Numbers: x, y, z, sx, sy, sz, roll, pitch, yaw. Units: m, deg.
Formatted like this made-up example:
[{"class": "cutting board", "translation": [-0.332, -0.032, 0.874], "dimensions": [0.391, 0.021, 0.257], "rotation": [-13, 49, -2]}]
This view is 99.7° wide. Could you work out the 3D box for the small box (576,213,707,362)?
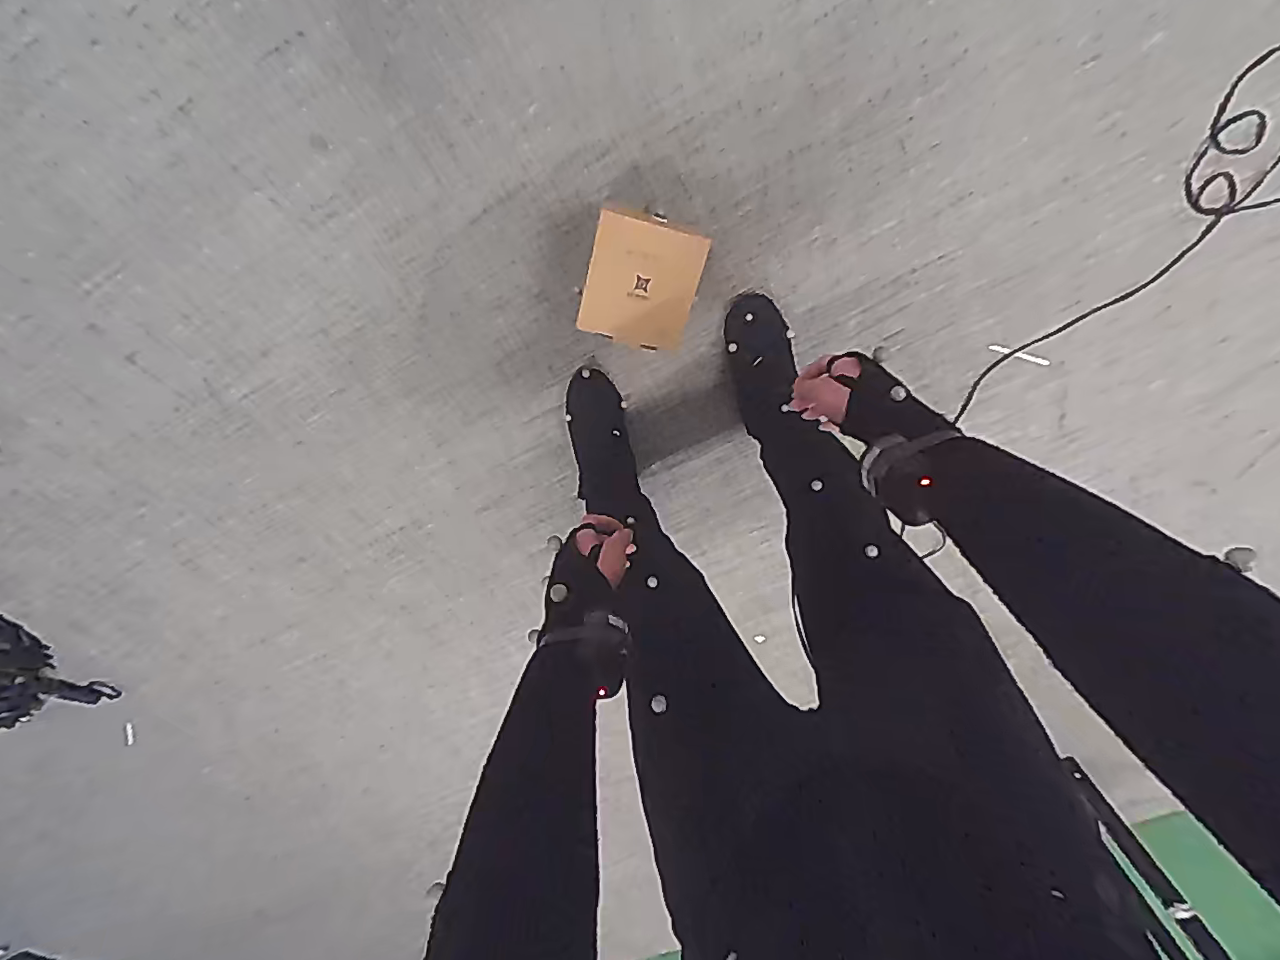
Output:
[{"class": "small box", "translation": [-0.004, -0.317, 0.881], "dimensions": [0.168, 0.176, 0.179], "rotation": [11, 118, -11]}]
